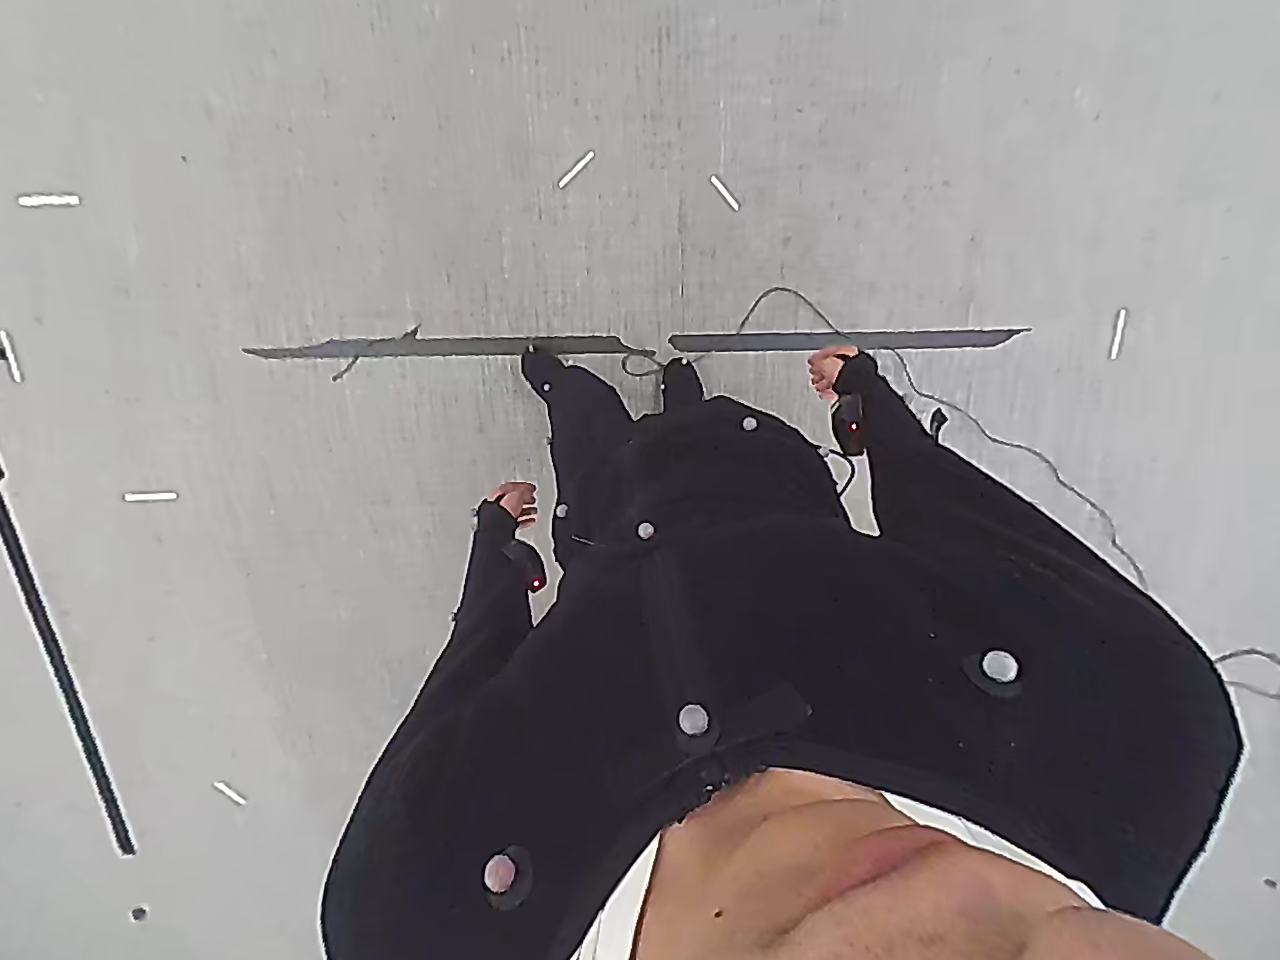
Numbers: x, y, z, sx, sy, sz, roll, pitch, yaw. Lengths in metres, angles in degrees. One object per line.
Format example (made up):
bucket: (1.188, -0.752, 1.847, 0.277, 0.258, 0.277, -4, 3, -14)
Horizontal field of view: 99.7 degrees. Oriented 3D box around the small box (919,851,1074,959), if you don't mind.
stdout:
small box: (0.676, 0.859, 1.051, 0.179, 0.176, 0.168, 3, 105, -2)
